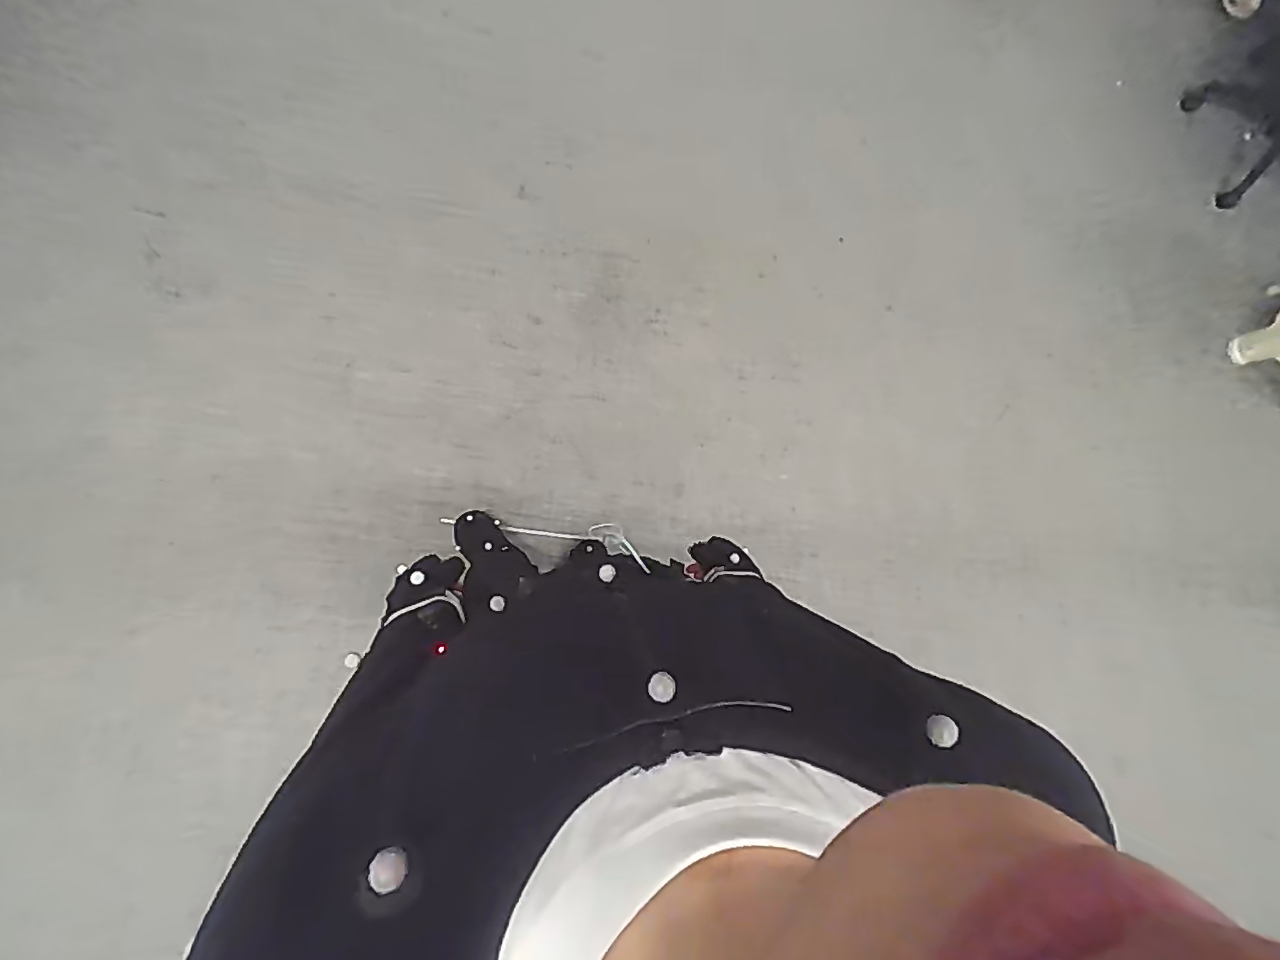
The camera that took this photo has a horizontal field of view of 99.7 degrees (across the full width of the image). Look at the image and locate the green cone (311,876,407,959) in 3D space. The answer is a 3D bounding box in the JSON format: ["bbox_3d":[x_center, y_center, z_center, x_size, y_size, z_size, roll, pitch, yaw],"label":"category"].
[{"bbox_3d":[-0.655,1.058,1.147,0.202,0.368,0.200,7,84,-8],"label":"green cone"}]
